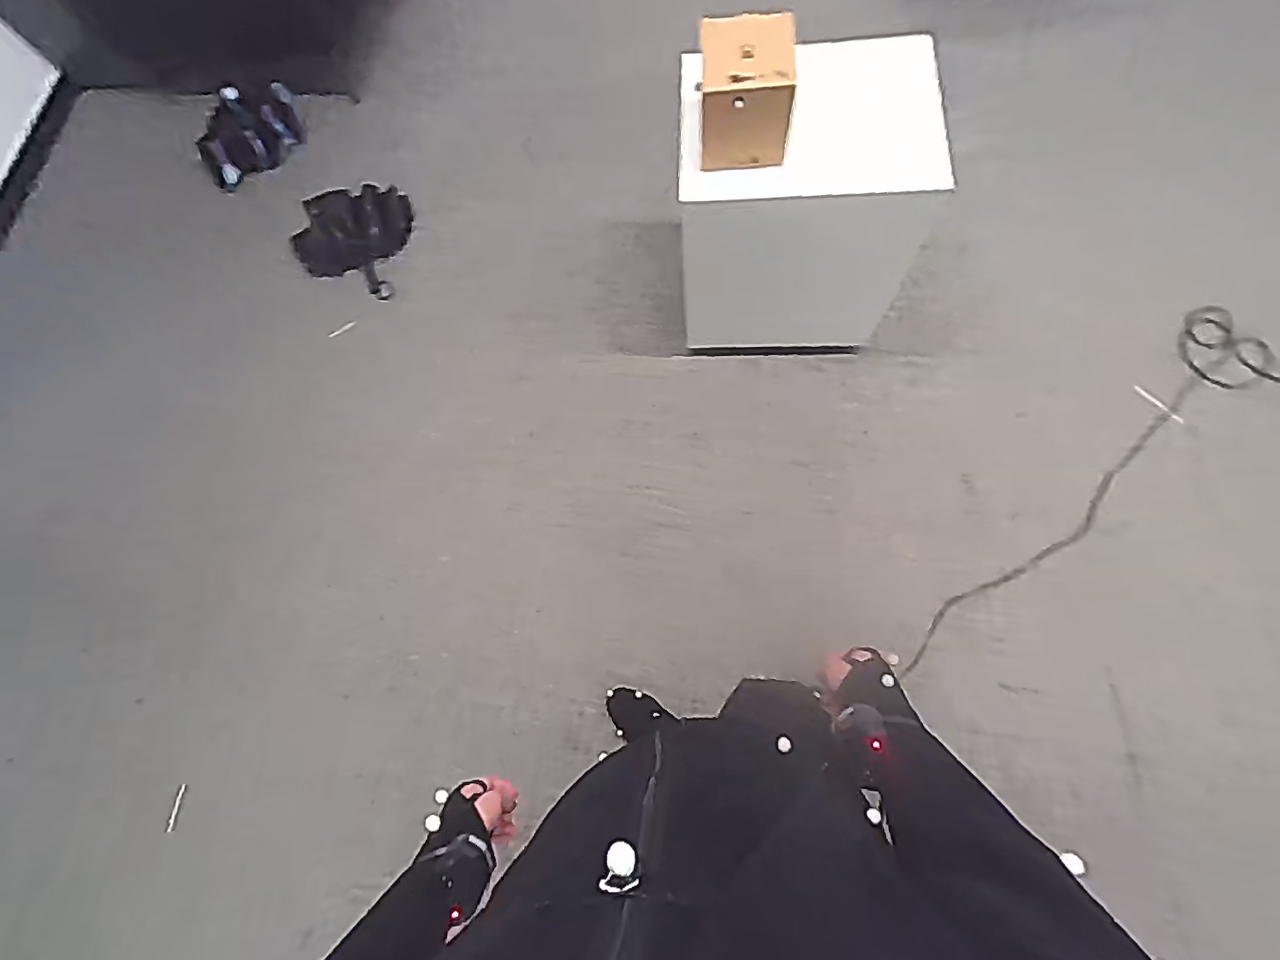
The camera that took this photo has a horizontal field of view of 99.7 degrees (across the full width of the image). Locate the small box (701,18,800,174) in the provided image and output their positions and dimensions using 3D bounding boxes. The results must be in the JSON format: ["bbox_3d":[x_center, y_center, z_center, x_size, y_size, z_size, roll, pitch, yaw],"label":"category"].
[{"bbox_3d":[0.199,-0.714,1.016,0.168,0.176,0.179,-1,72,6],"label":"small box"}]
